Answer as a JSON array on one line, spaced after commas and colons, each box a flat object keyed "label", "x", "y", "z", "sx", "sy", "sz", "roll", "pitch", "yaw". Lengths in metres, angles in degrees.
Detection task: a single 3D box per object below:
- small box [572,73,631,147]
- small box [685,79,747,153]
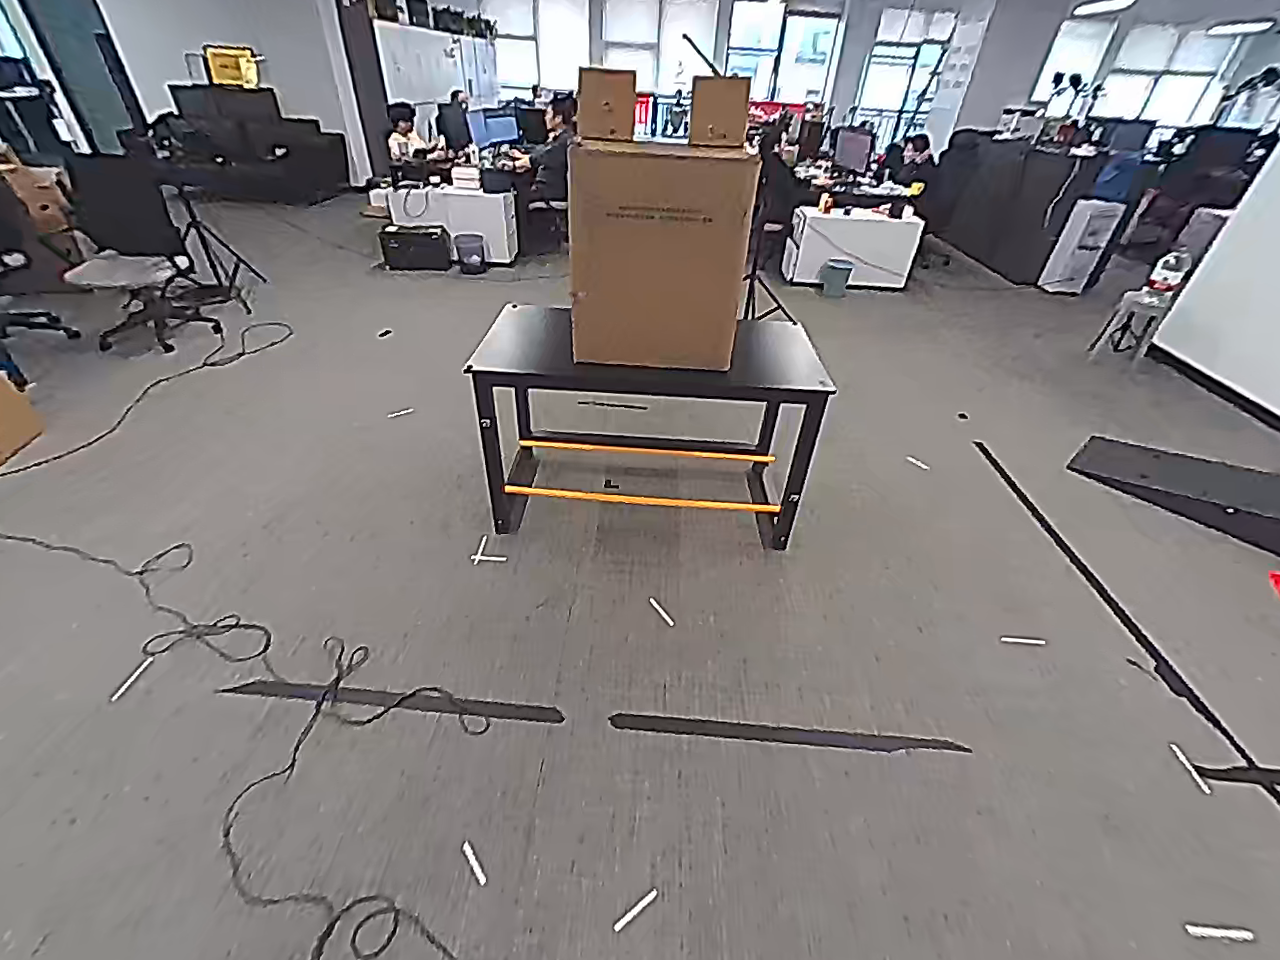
[{"label": "small box", "x": -0.110, "y": -1.091, "z": 1.595, "sx": 0.168, "sy": 0.176, "sz": 0.179, "roll": 1, "pitch": 37, "yaw": -4}, {"label": "small box", "x": 0.217, "y": -1.068, "z": 1.587, "sx": 0.168, "sy": 0.176, "sz": 0.179, "roll": 2, "pitch": 36, "yaw": 3}]
